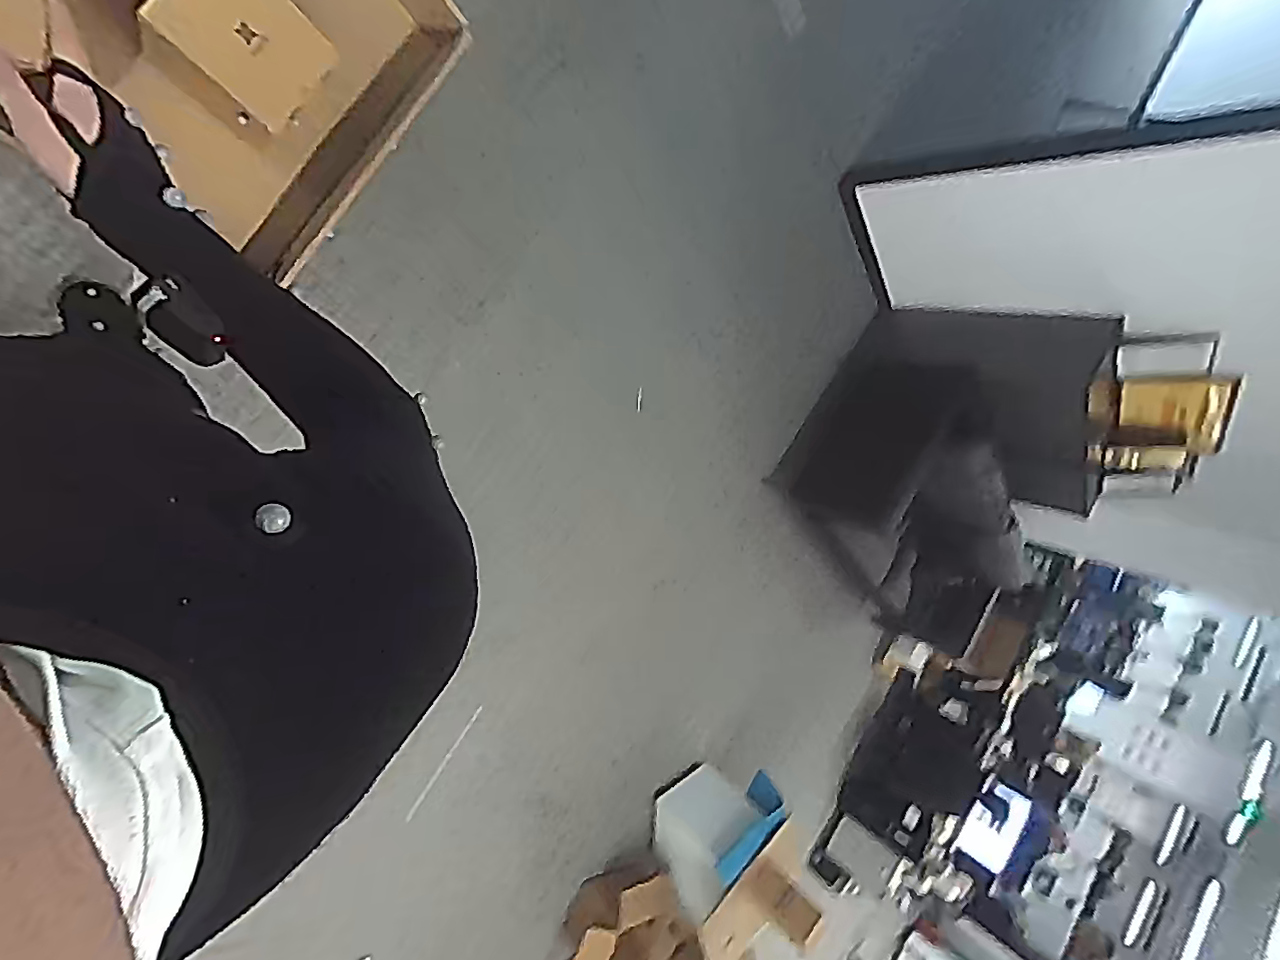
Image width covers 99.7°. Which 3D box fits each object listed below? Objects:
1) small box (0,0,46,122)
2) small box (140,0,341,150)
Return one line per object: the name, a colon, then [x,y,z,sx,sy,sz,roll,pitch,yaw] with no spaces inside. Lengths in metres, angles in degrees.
small box: [-0.552,-0.383,0.376,0.168,0.176,0.179,-16,110,-46]
small box: [-0.597,-0.635,0.809,0.179,0.176,0.168,40,77,-44]
